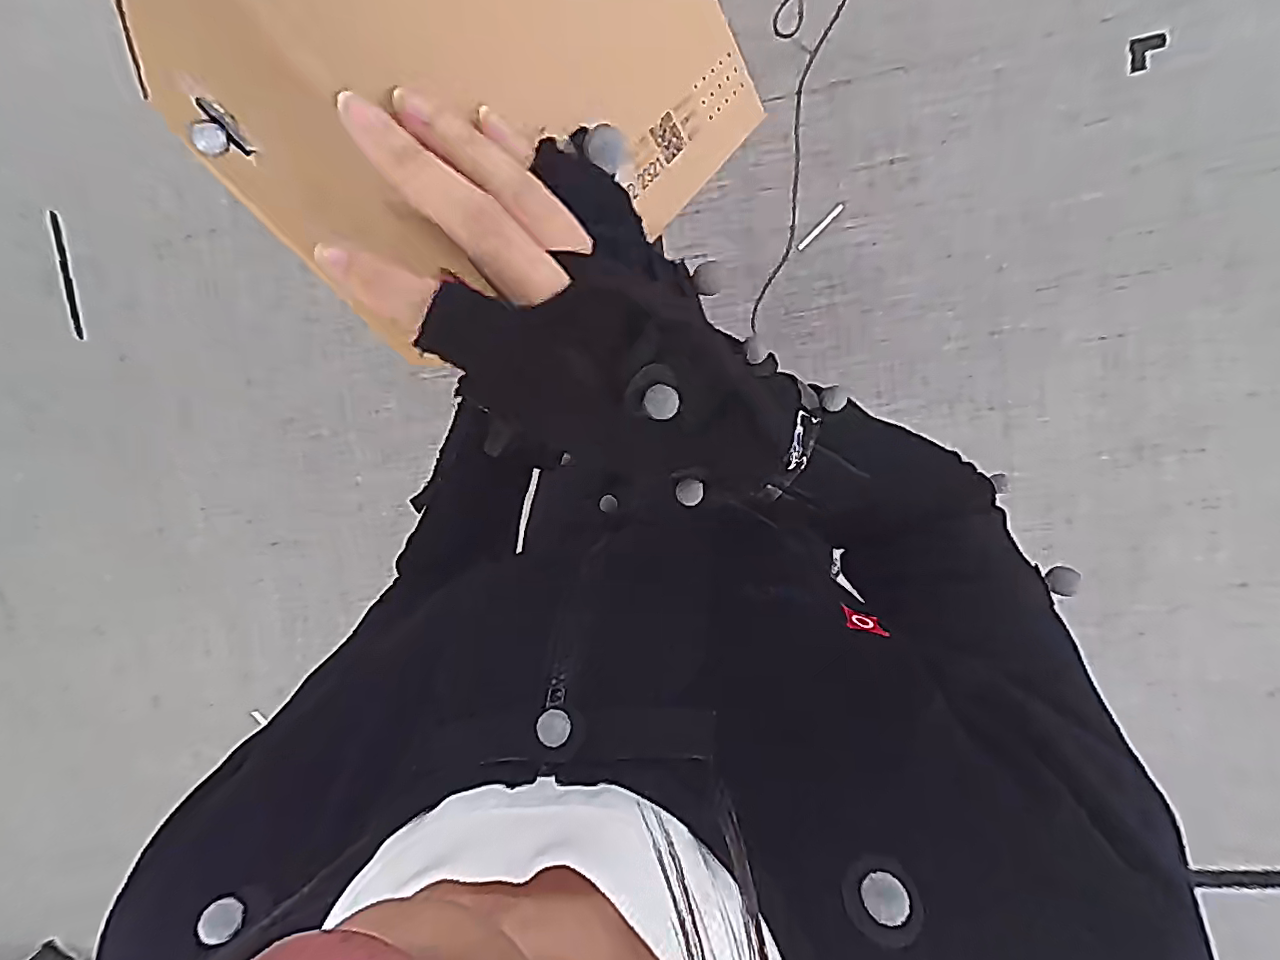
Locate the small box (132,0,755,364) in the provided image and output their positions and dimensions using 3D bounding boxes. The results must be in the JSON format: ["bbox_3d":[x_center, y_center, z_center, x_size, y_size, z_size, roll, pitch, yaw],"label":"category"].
[{"bbox_3d":[-0.082,-0.169,0.256,0.168,0.179,0.176,-53,124,-16],"label":"small box"}]
